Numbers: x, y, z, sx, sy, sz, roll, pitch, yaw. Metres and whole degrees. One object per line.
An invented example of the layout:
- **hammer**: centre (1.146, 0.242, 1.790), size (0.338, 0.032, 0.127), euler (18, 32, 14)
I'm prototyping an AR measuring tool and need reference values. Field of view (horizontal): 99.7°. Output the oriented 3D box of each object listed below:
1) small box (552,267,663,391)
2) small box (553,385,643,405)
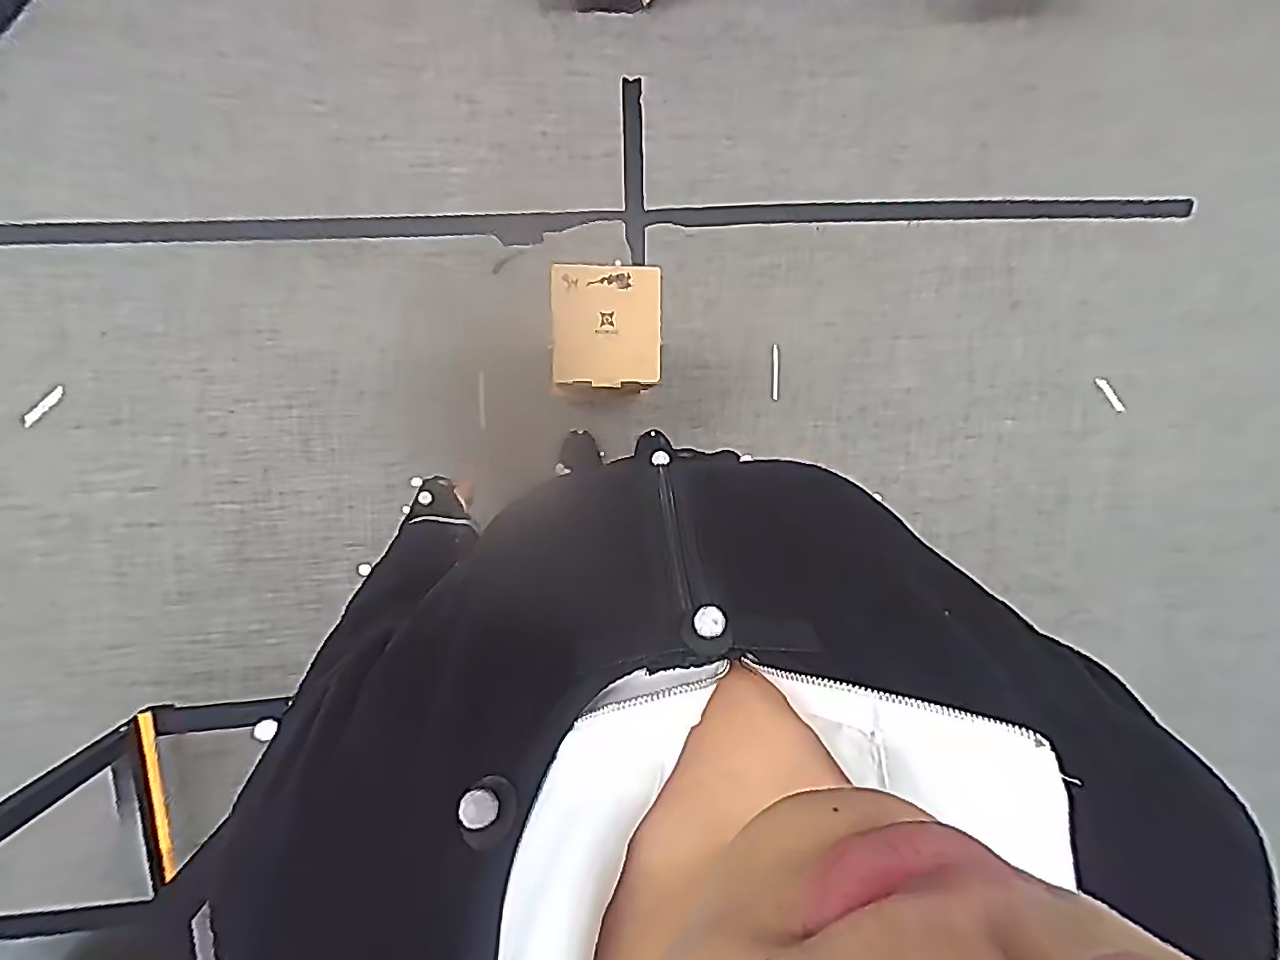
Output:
- **small box**: centre (-0.053, -0.236, 0.886), size (0.168, 0.176, 0.179), euler (0, 97, -4)
- **small box**: centre (-0.077, -0.240, 1.049), size (0.168, 0.176, 0.179), euler (3, 97, -4)
